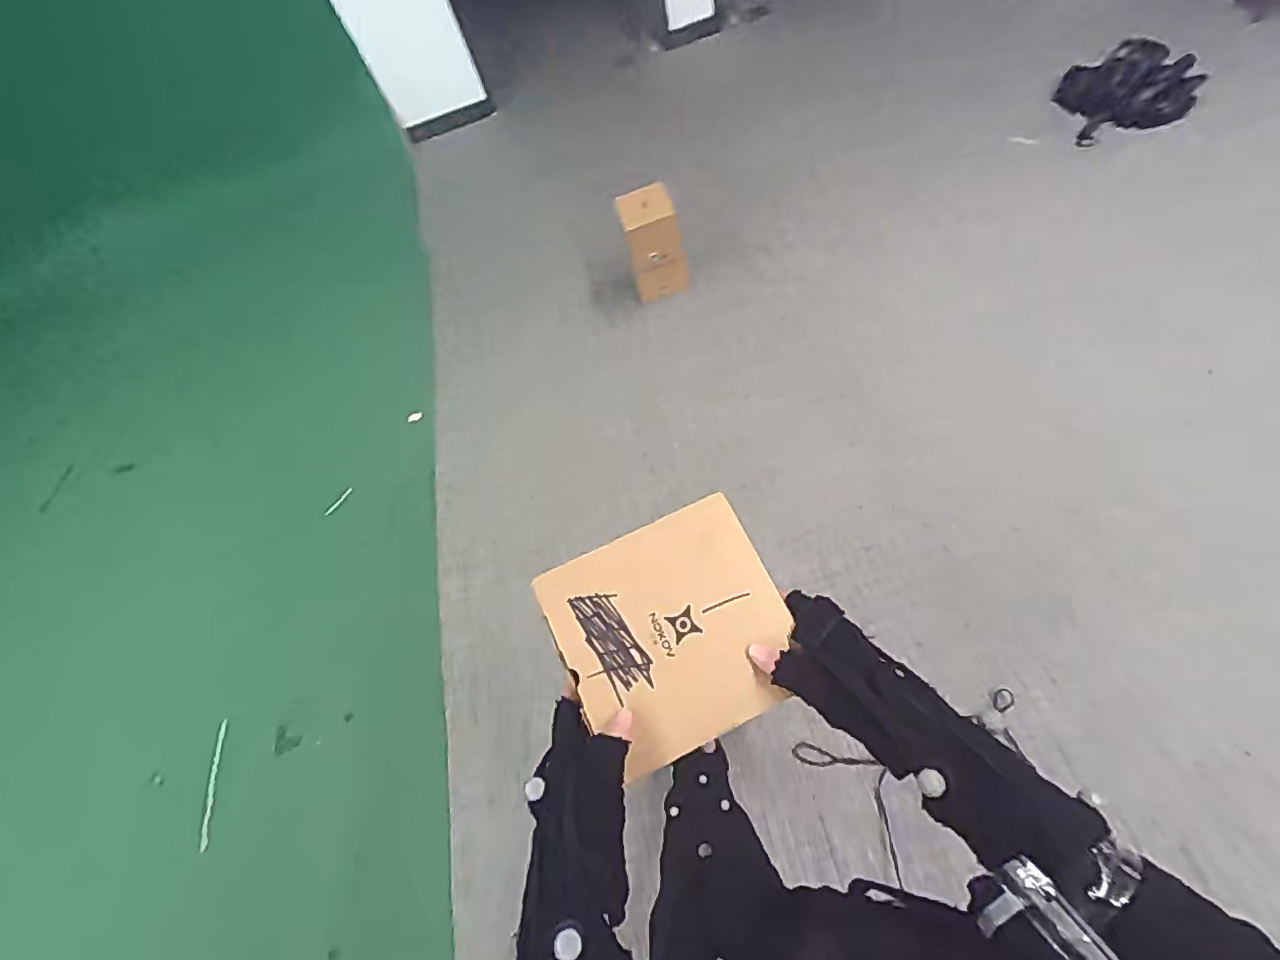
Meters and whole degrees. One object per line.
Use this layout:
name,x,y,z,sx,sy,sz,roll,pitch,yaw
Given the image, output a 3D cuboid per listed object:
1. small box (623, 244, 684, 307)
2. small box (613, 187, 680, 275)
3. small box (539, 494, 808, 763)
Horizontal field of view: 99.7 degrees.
small box,0.053,-0.749,1.919,0.179,0.176,0.168,-17,59,3
small box,0.024,-0.811,1.769,0.168,0.176,0.179,-19,61,4
small box,0.026,0.139,0.516,0.179,0.176,0.168,-23,73,-7
